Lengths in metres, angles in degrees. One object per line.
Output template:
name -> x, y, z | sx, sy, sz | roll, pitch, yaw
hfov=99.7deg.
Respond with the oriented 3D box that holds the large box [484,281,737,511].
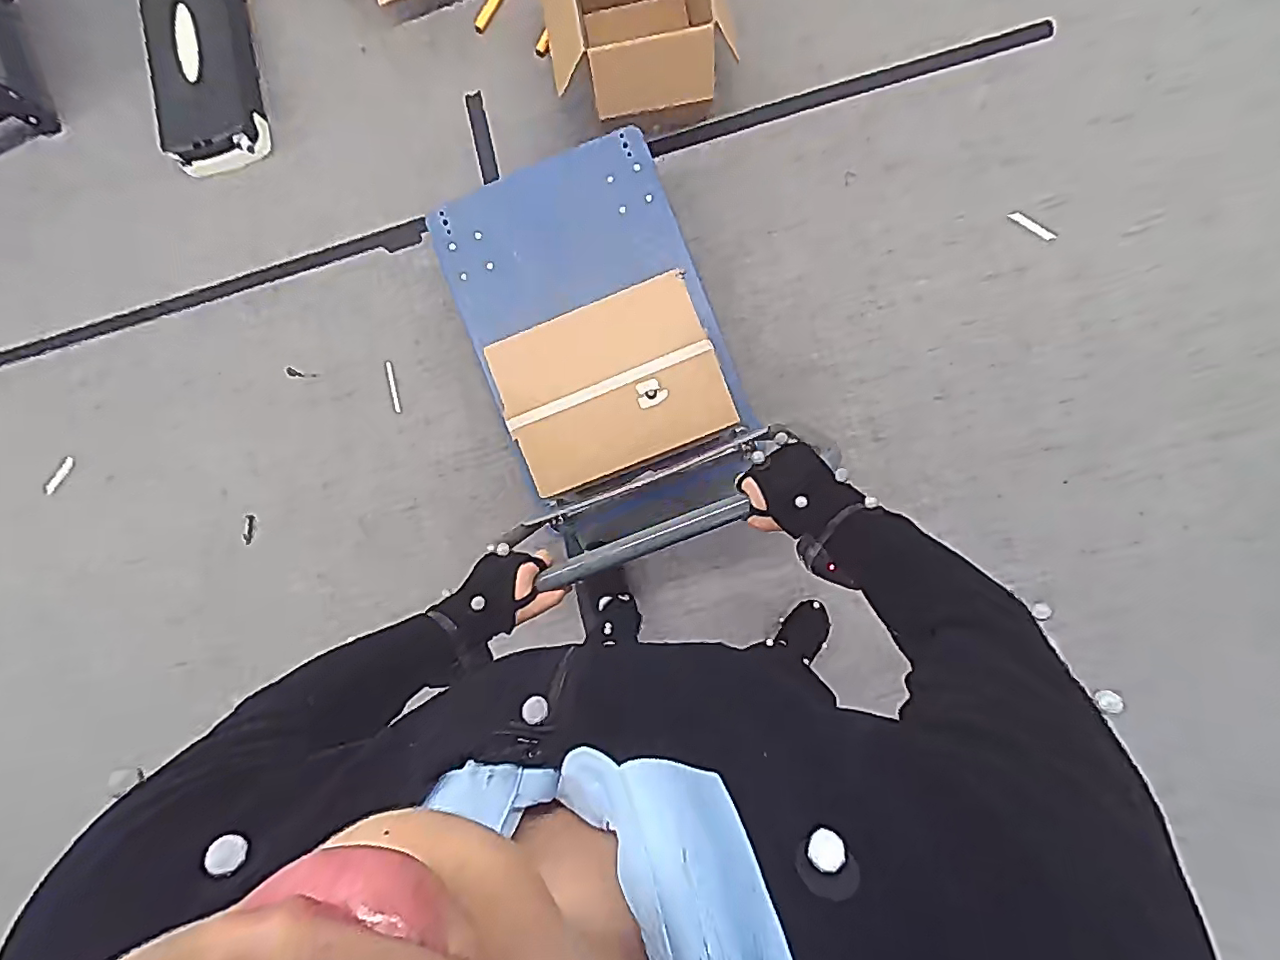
large box -> -0.053, -0.154, 1.154 | 0.408, 0.320, 0.320 | -22, 90, 2
